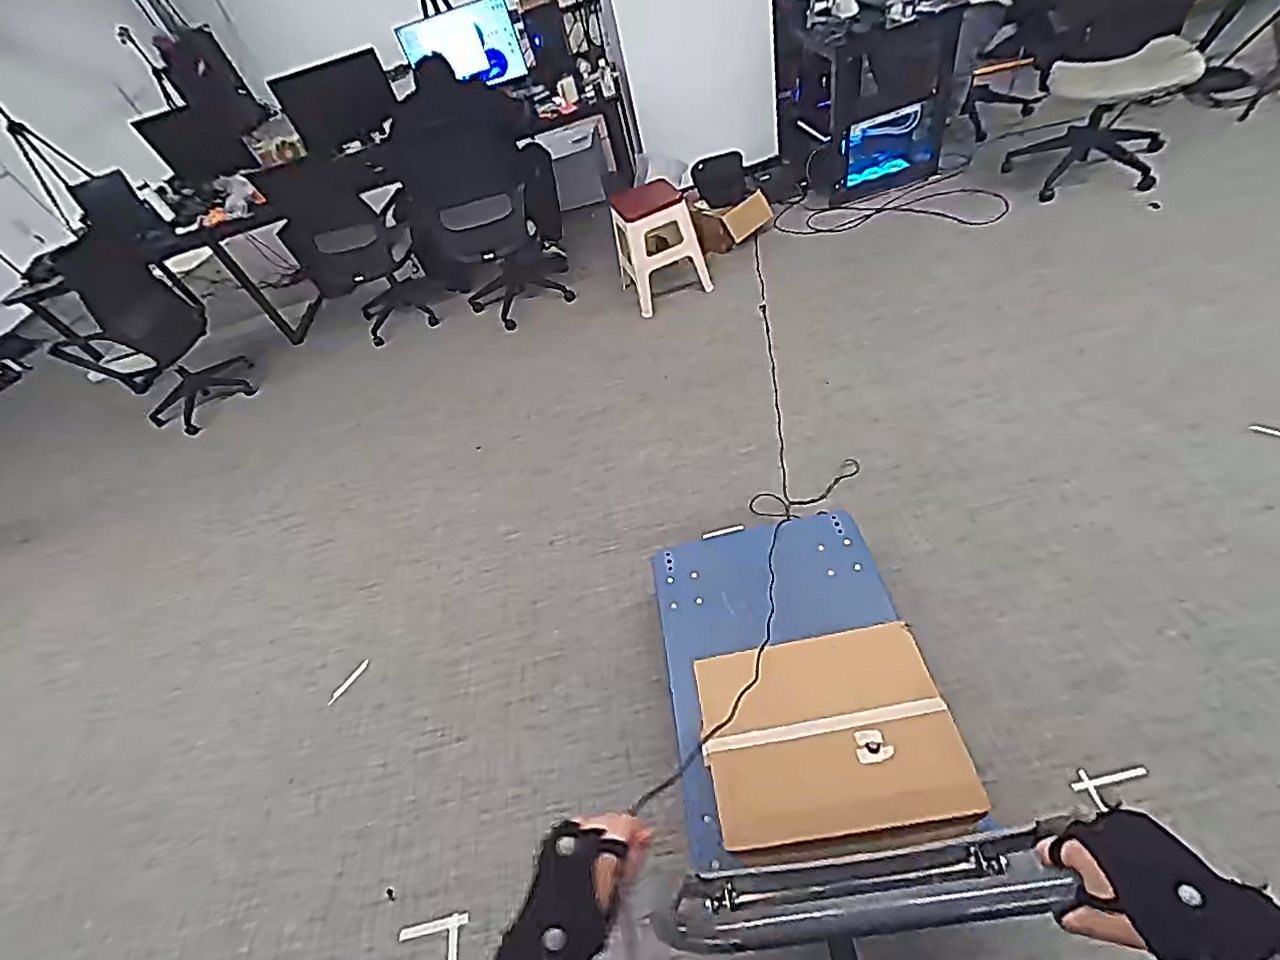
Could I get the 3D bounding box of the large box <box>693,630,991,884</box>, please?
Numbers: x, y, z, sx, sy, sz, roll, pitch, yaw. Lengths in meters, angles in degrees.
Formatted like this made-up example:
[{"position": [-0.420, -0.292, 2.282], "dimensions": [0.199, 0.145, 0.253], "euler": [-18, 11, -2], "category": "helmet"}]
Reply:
[{"position": [0.340, 0.527, 1.015], "dimensions": [0.408, 0.320, 0.320], "euler": [-13, 48, 6], "category": "large box"}]
